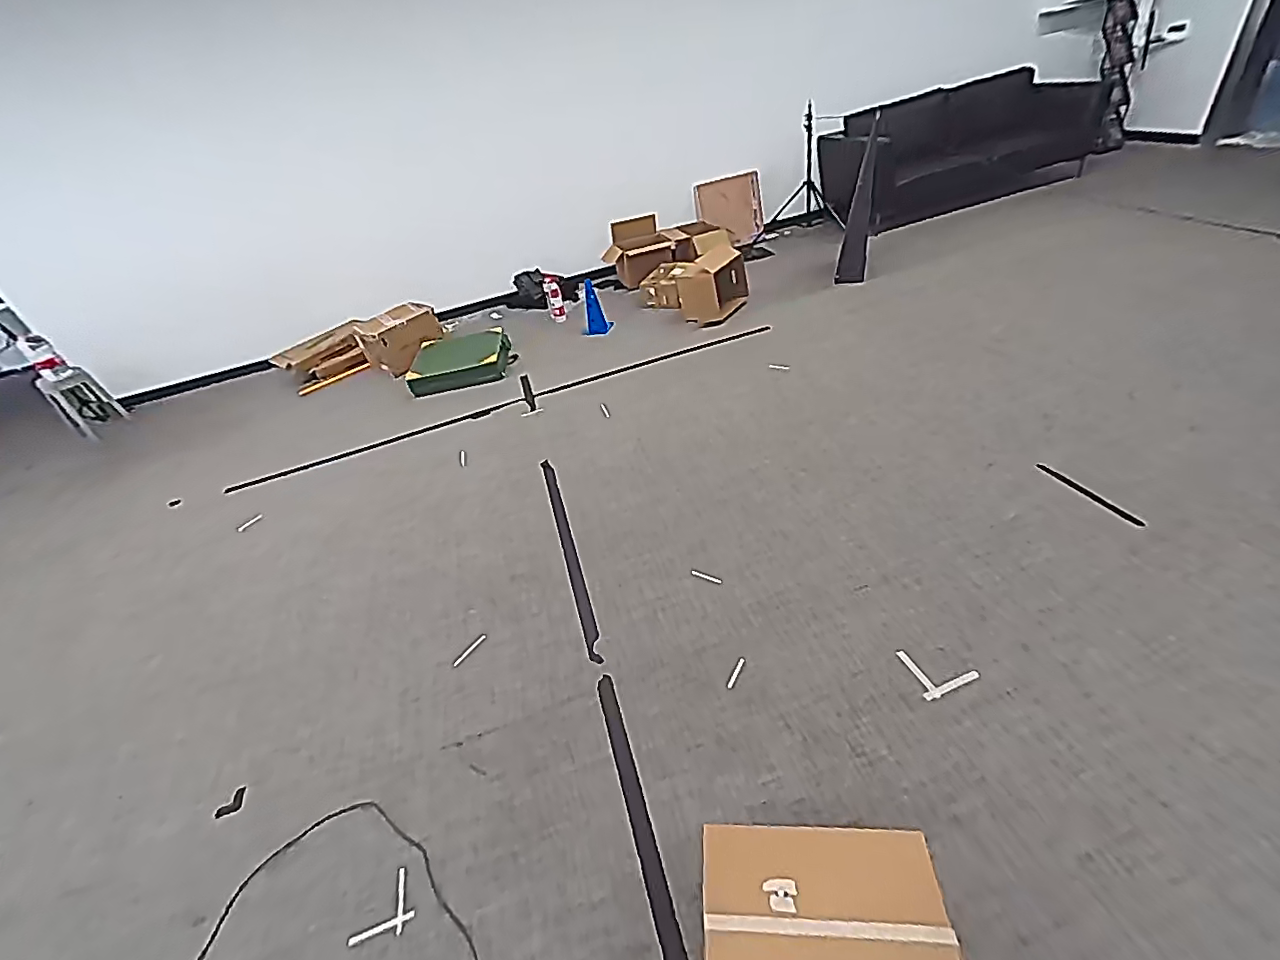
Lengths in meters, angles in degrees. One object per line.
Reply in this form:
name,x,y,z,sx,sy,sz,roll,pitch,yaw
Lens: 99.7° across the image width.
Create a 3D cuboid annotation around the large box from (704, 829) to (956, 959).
large box,0.340,0.882,1.006,0.408,0.320,0.320,-6,36,10
